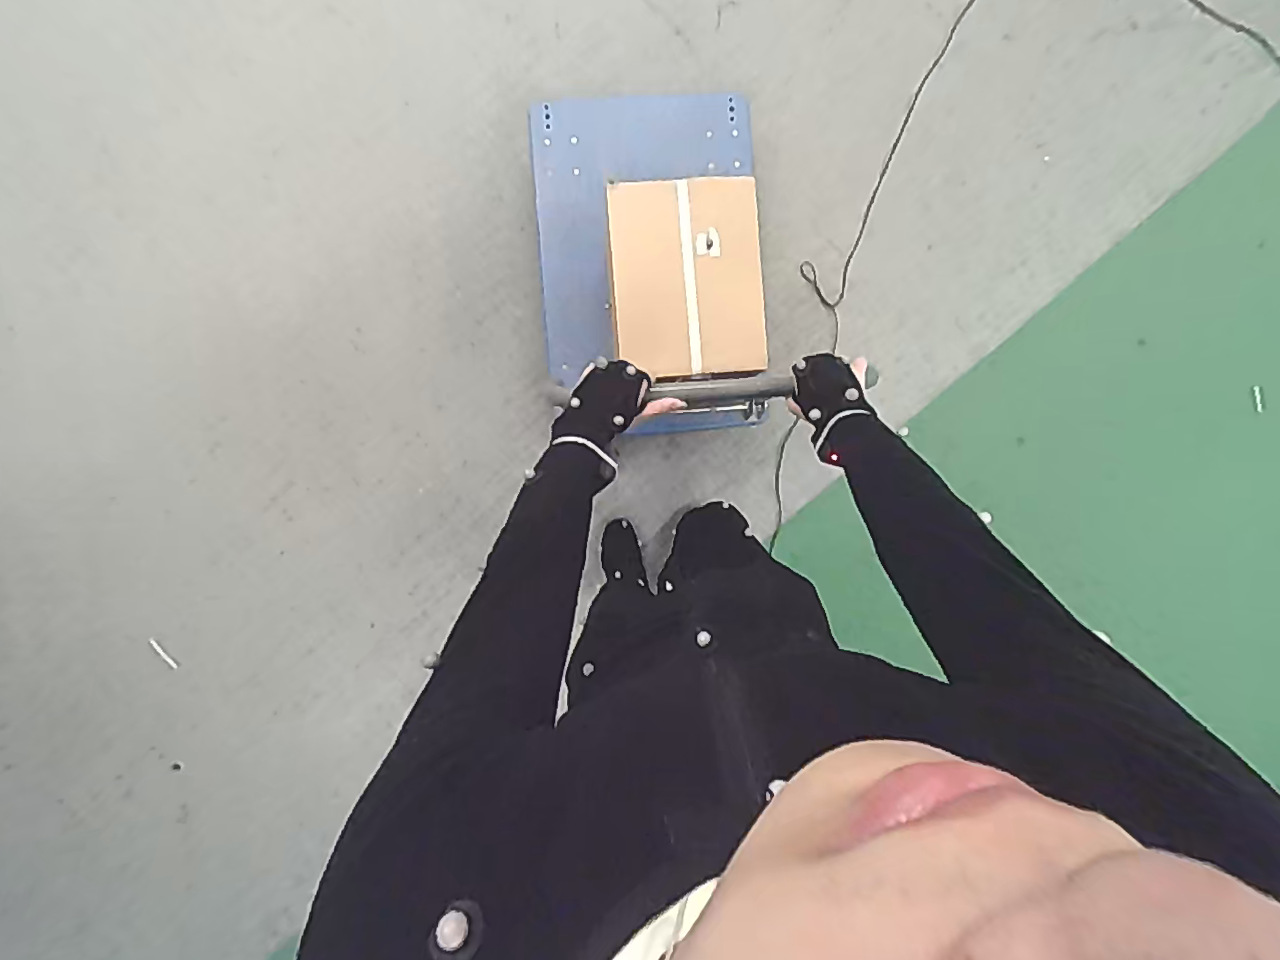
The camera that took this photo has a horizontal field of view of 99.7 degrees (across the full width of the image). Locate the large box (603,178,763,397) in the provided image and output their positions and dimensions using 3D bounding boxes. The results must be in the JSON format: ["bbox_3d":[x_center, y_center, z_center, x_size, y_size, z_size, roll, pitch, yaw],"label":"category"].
[{"bbox_3d":[0.086,-0.430,1.289,0.320,0.320,0.408,-5,91,-4],"label":"large box"}]
